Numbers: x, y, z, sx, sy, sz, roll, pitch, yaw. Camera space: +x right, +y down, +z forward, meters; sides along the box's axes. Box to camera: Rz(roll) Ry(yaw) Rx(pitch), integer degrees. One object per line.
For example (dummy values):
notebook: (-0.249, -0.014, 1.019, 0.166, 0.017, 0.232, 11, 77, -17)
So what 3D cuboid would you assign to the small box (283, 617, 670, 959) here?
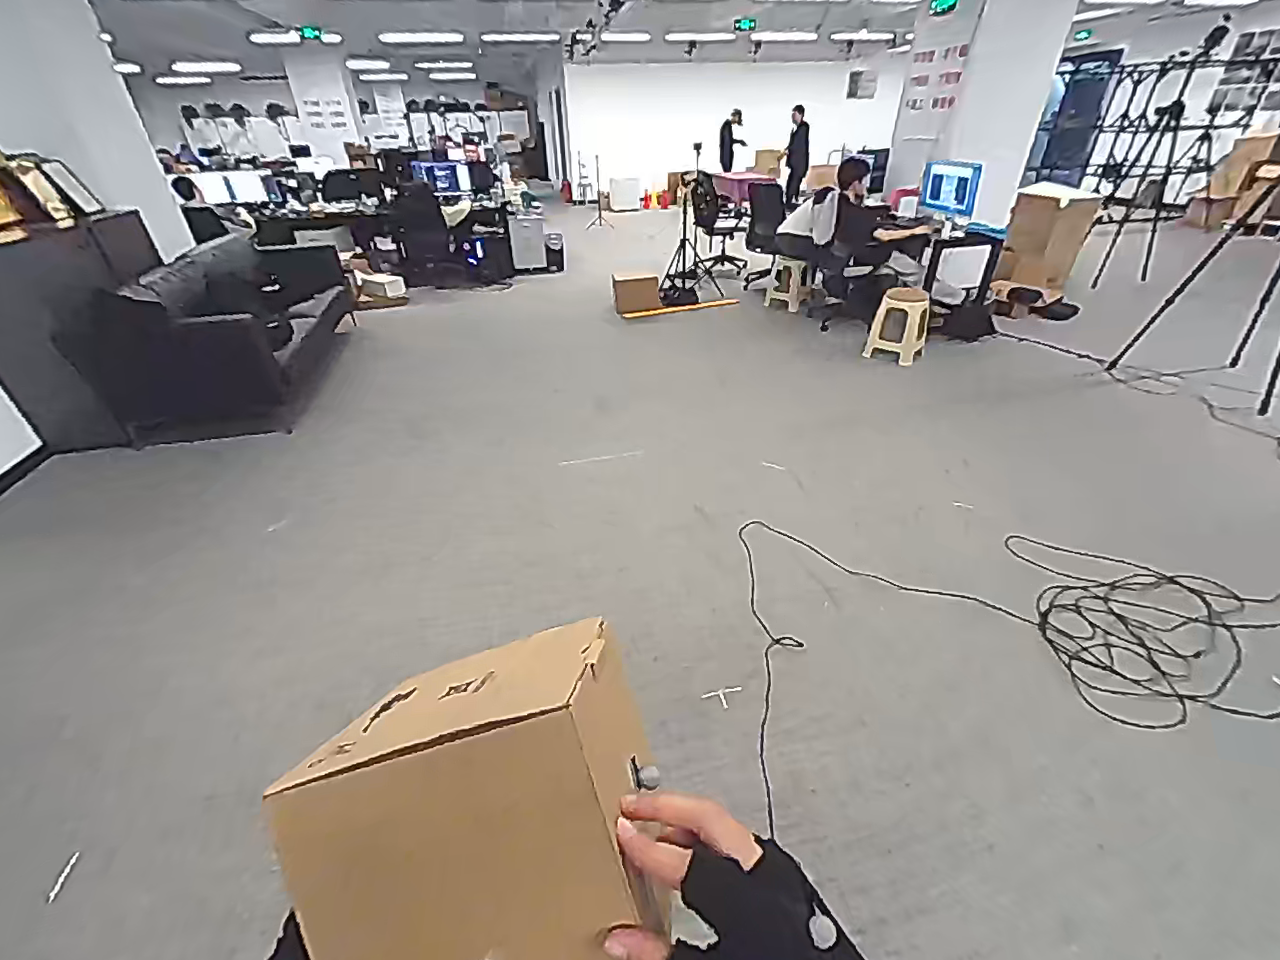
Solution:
small box: (-0.084, 0.216, 0.366, 0.179, 0.176, 0.168, -18, -1, 4)
